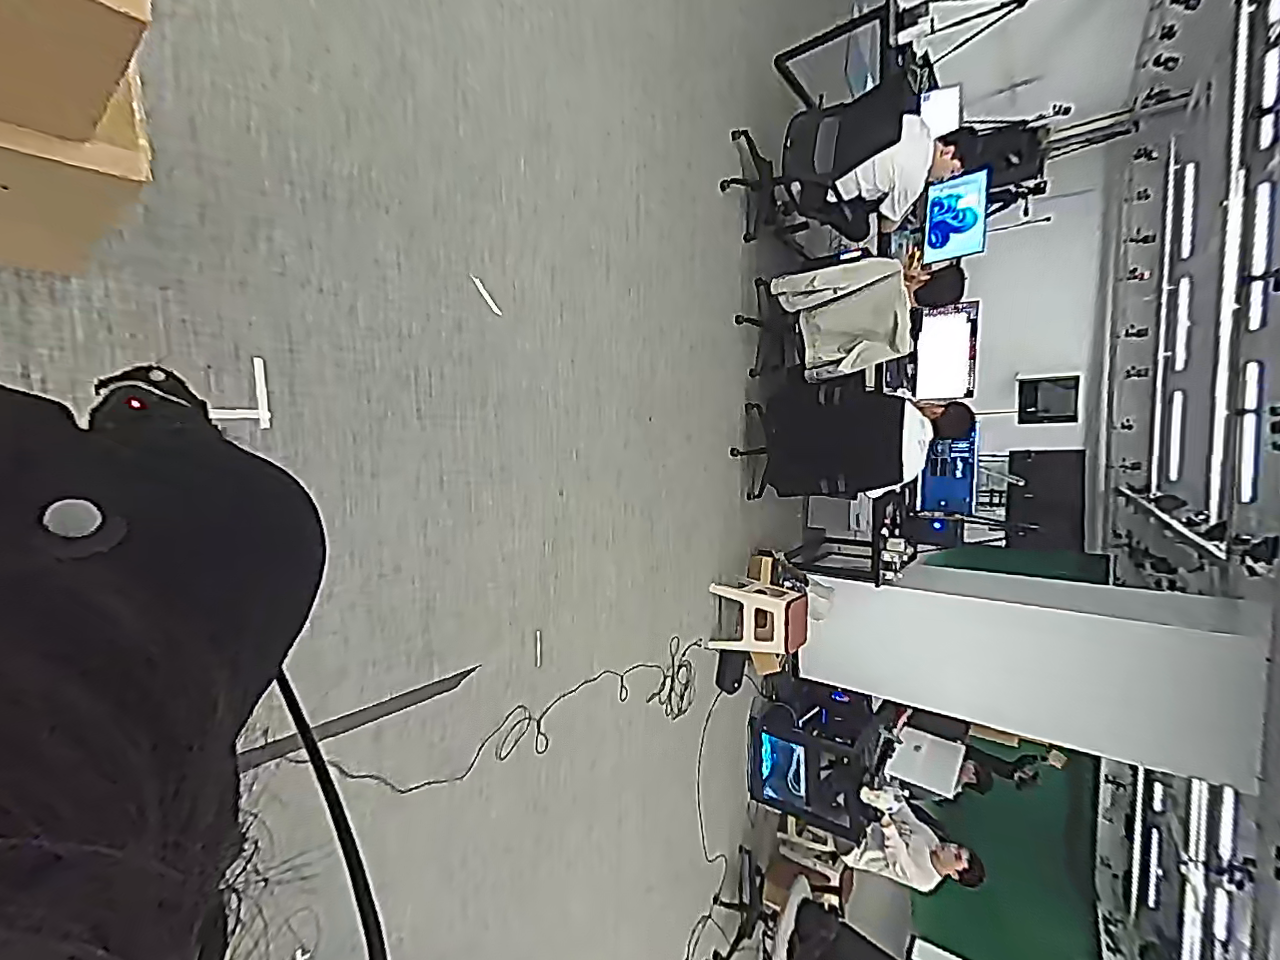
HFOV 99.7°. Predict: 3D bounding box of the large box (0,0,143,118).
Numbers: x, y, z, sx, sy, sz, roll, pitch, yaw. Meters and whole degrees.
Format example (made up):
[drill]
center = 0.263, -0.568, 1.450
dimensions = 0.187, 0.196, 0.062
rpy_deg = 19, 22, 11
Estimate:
[large box]
center = -0.691, -0.563, 0.401
dimensions = 0.408, 0.320, 0.320
rpy_deg = -9, 100, -54
